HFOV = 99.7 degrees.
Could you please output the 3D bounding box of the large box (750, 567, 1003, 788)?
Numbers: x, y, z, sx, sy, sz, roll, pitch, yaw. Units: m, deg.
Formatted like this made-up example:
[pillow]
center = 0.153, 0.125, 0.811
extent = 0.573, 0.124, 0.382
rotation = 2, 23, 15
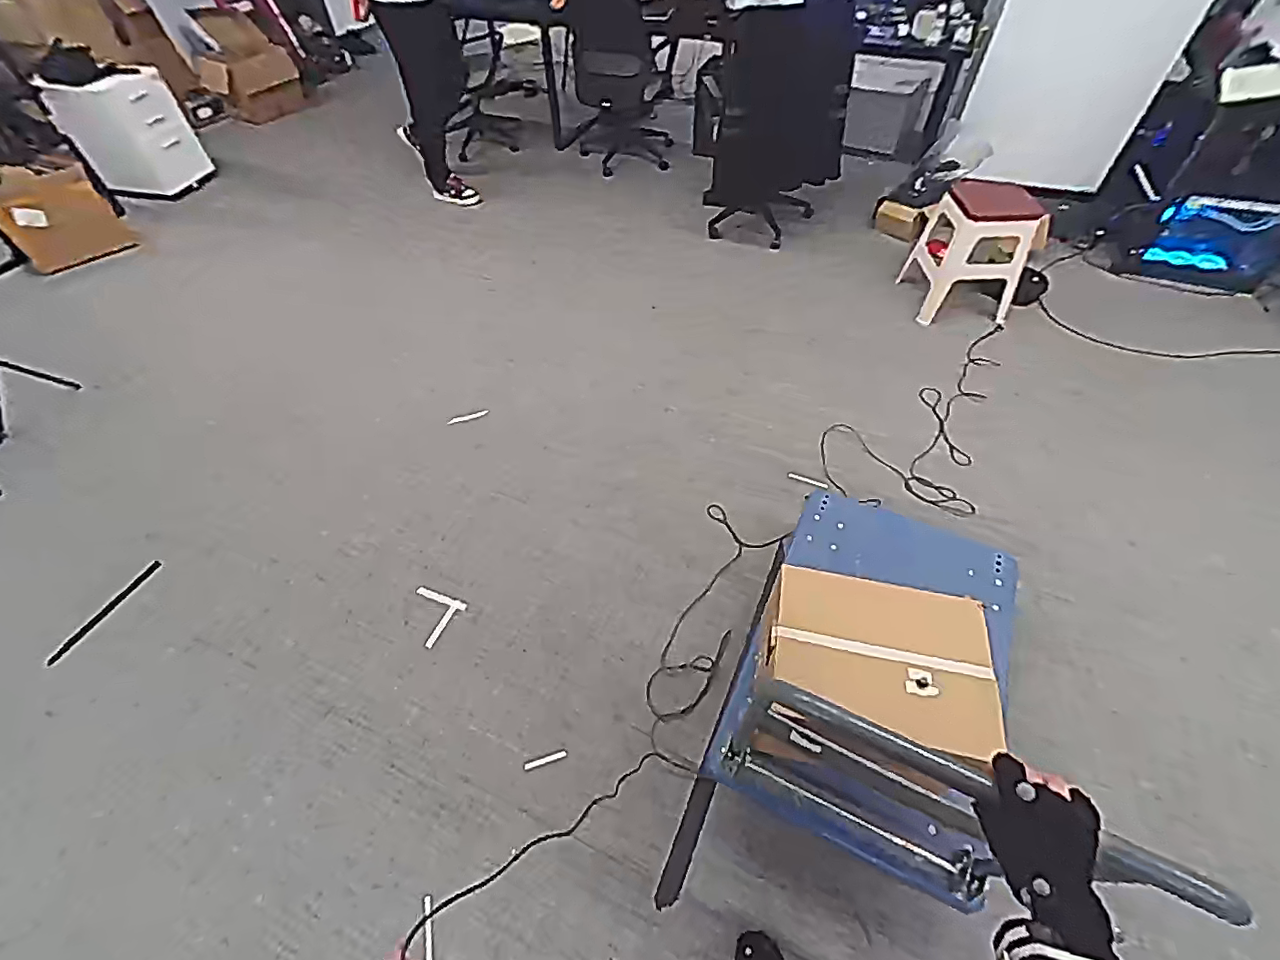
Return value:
[large box]
center = 0.466, 0.426, 1.163
extent = 0.408, 0.320, 0.320
rotation = 10, 53, 9
